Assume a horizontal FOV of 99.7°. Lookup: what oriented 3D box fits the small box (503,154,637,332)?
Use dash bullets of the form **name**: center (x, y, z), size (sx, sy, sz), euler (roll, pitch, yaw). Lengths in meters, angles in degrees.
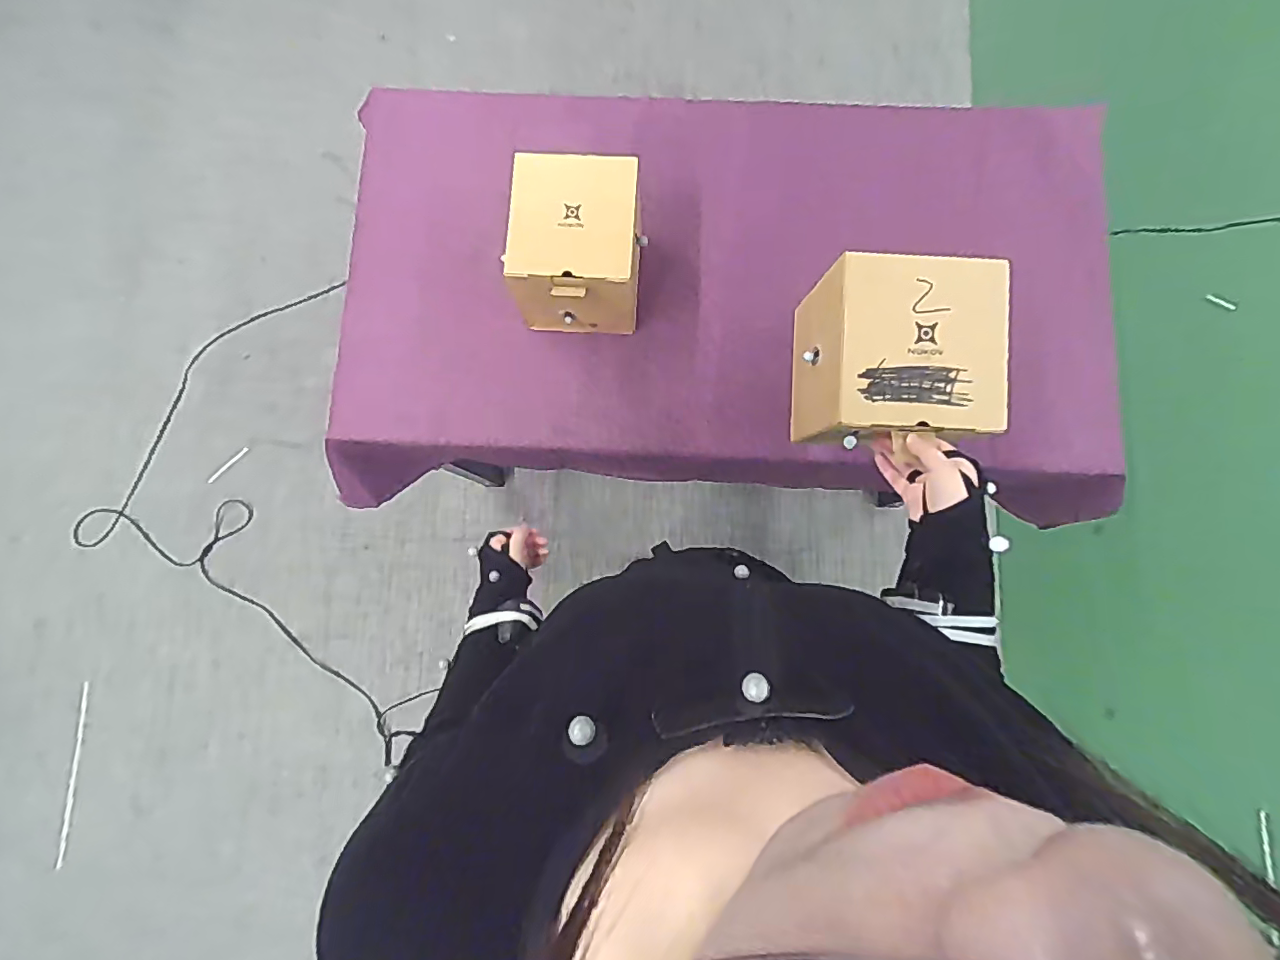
- **small box**: center (-0.092, -0.338, 0.794), size (0.168, 0.176, 0.179), euler (3, 83, 1)
